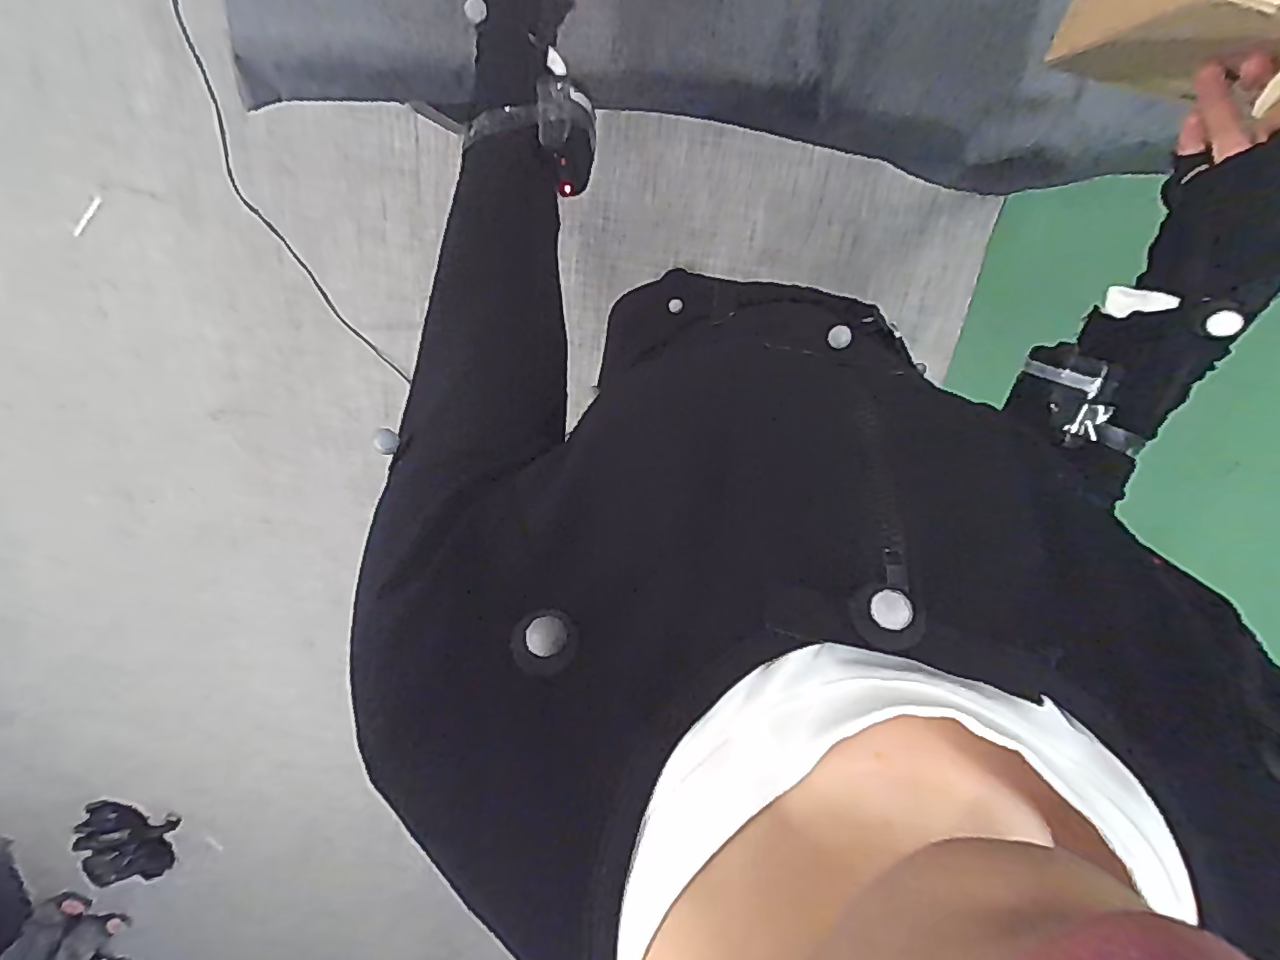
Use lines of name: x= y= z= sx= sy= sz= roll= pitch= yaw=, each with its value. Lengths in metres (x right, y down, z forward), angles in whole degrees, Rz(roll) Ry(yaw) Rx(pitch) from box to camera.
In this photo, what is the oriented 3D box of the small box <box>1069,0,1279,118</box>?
small box: x=0.393 y=-0.324 z=0.298 sx=0.168 sy=0.176 sz=0.179 roll=15 pitch=119 yaw=0
